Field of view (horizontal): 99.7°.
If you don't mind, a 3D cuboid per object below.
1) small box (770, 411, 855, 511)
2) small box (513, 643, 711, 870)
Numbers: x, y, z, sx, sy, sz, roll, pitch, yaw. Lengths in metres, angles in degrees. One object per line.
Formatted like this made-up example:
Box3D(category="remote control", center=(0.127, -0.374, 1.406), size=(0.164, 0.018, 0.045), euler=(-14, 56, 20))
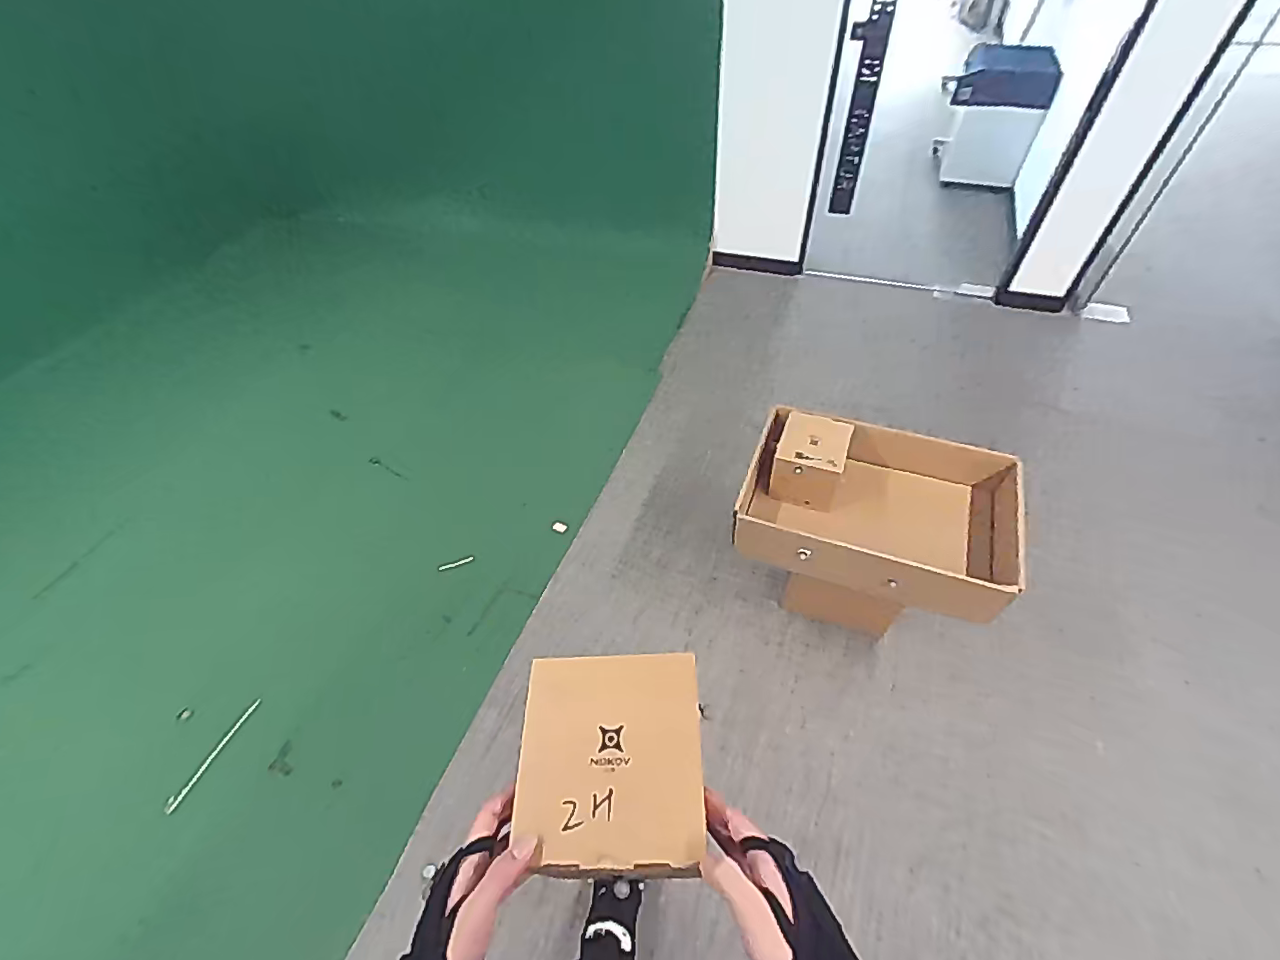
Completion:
Box3D(category="small box", center=(0.448, -0.049, 1.423), size=(0.168, 0.176, 0.179), euler=(17, 54, 17))
Box3D(category="small box", center=(-0.016, 0.283, 0.553), size=(0.168, 0.176, 0.179), euler=(-2, 51, 5))
